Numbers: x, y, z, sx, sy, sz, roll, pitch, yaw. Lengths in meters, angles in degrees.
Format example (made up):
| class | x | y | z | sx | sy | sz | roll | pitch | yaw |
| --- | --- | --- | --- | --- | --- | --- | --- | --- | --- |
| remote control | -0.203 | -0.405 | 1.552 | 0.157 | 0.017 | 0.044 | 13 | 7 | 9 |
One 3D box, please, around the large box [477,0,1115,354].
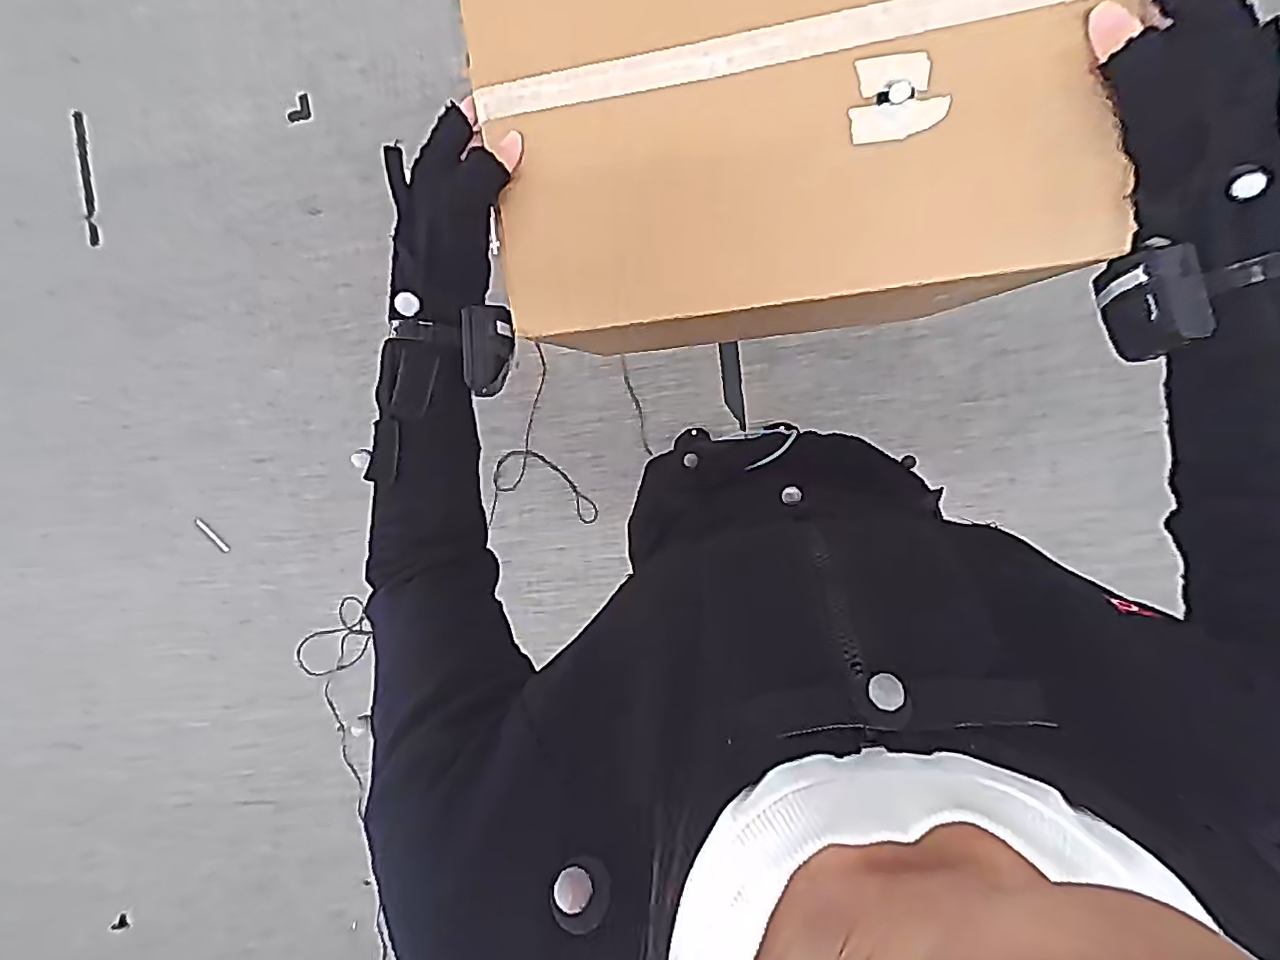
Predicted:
| class | x | y | z | sx | sy | sz | roll | pitch | yaw |
| --- | --- | --- | --- | --- | --- | --- | --- | --- | --- |
| large box | 0.108 | -0.308 | 0.501 | 0.408 | 0.320 | 0.320 | -6 | 100 | 7 |
